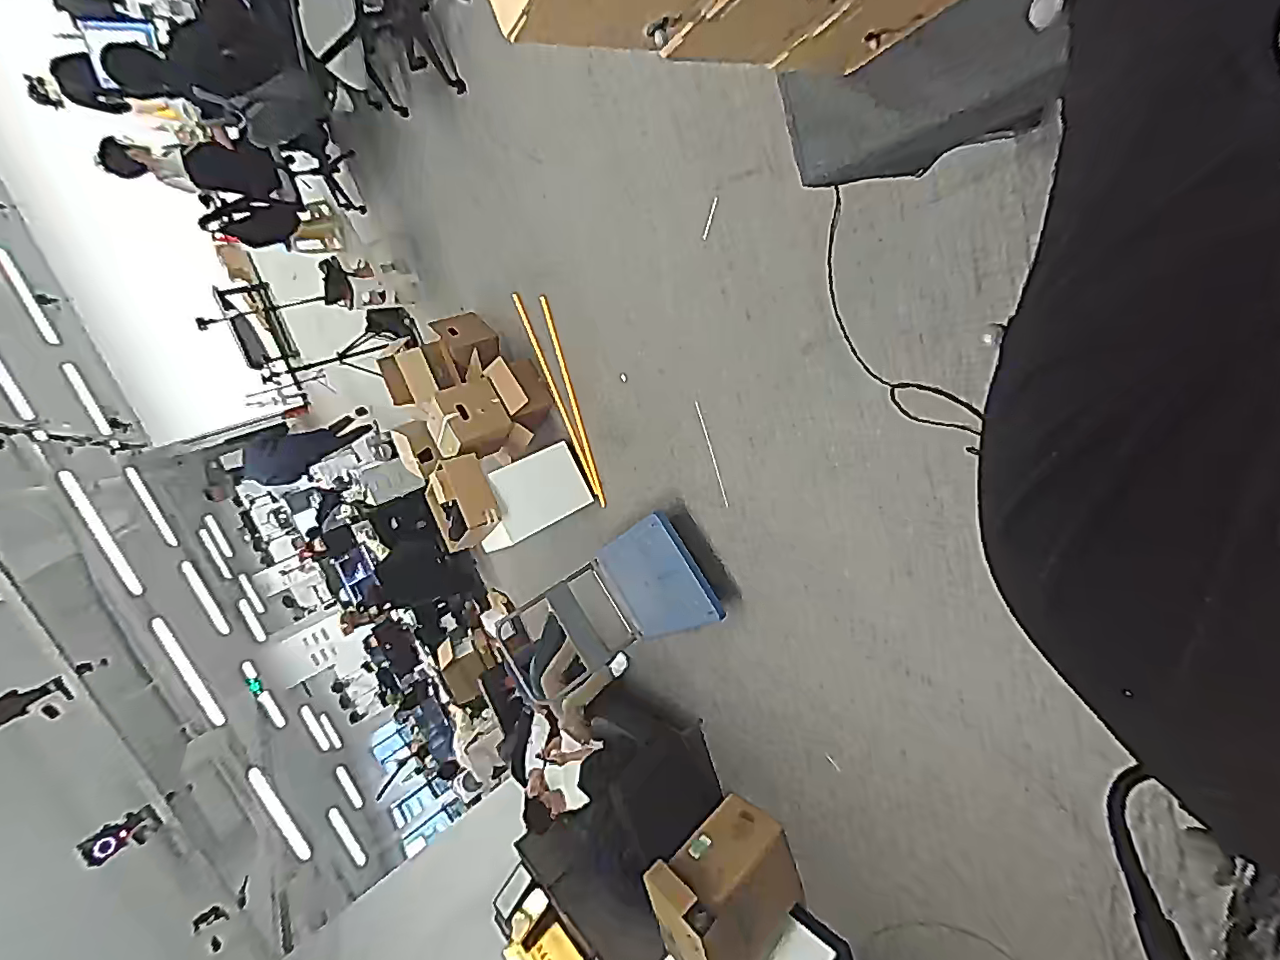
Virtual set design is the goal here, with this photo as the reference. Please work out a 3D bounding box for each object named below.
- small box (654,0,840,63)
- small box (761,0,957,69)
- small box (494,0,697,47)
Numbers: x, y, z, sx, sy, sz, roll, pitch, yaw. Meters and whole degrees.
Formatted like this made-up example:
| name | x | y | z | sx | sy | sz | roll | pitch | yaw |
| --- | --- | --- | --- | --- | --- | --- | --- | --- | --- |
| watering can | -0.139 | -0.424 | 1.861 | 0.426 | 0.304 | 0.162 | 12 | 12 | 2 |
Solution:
| name | x | y | z | sx | sy | sz | roll | pitch | yaw |
| --- | --- | --- | --- | --- | --- | --- | --- | --- | --- |
| small box | 0.102 | -0.507 | 0.472 | 0.168 | 0.176 | 0.179 | 0 | 113 | 53 |
| small box | 0.222 | -0.568 | 0.563 | 0.168 | 0.176 | 0.179 | 0 | 113 | 54 |
| small box | -0.021 | -0.449 | 0.380 | 0.168 | 0.176 | 0.179 | -3 | 111 | 53 |
